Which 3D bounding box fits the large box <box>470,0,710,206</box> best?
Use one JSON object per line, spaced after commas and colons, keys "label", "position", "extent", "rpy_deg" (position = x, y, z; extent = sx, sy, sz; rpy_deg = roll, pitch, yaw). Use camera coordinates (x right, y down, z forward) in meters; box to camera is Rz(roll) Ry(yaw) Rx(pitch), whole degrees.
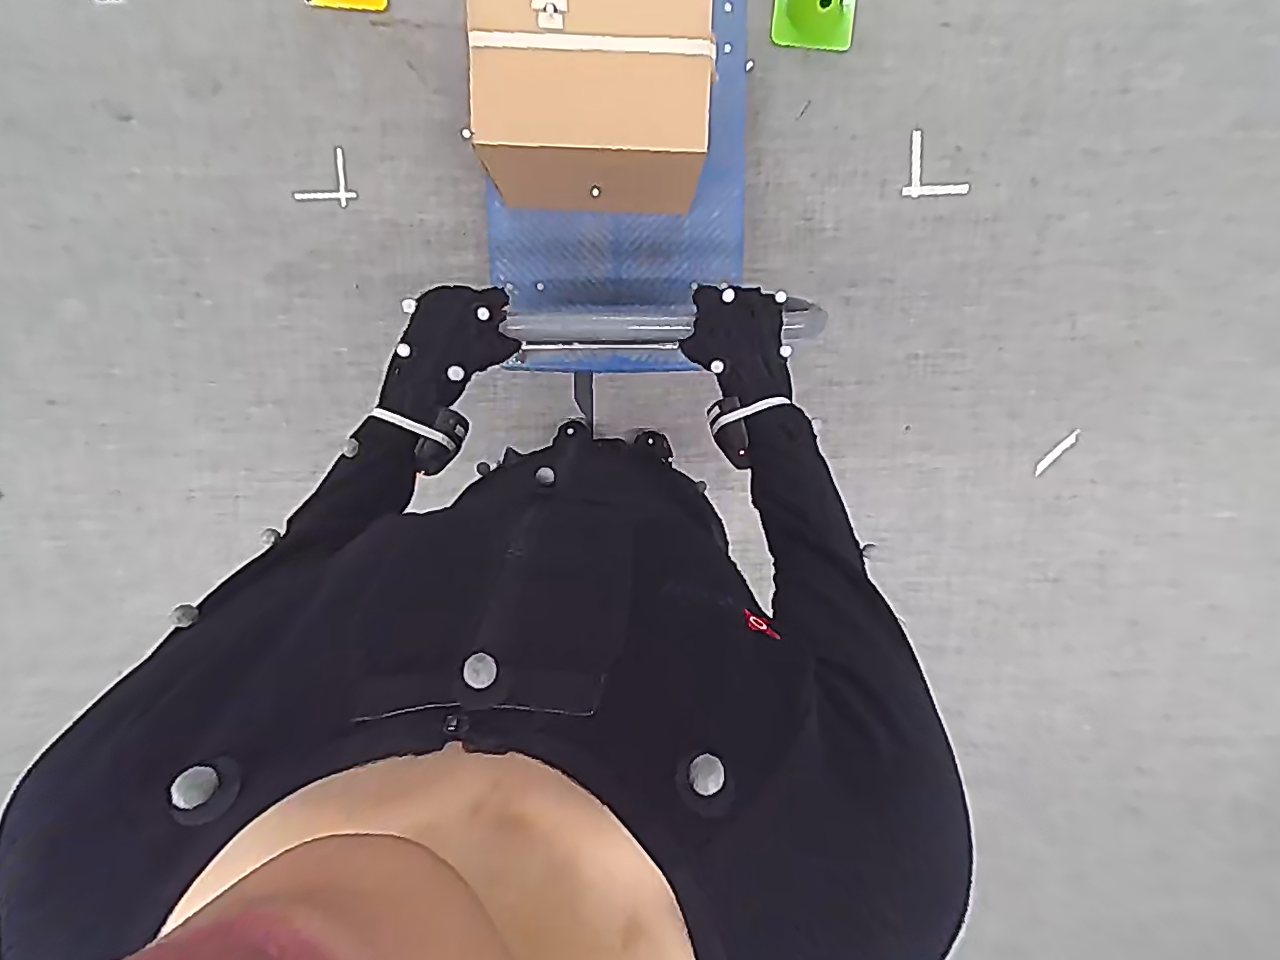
{"label": "large box", "position": [-0.083, -0.745, 1.049], "extent": [0.408, 0.320, 0.320], "rpy_deg": [1, 98, -1]}

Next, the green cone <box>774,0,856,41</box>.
{"label": "green cone", "position": [0.439, -1.162, 1.149], "extent": [0.202, 0.368, 0.200], "rpy_deg": [3, 98, -3]}
